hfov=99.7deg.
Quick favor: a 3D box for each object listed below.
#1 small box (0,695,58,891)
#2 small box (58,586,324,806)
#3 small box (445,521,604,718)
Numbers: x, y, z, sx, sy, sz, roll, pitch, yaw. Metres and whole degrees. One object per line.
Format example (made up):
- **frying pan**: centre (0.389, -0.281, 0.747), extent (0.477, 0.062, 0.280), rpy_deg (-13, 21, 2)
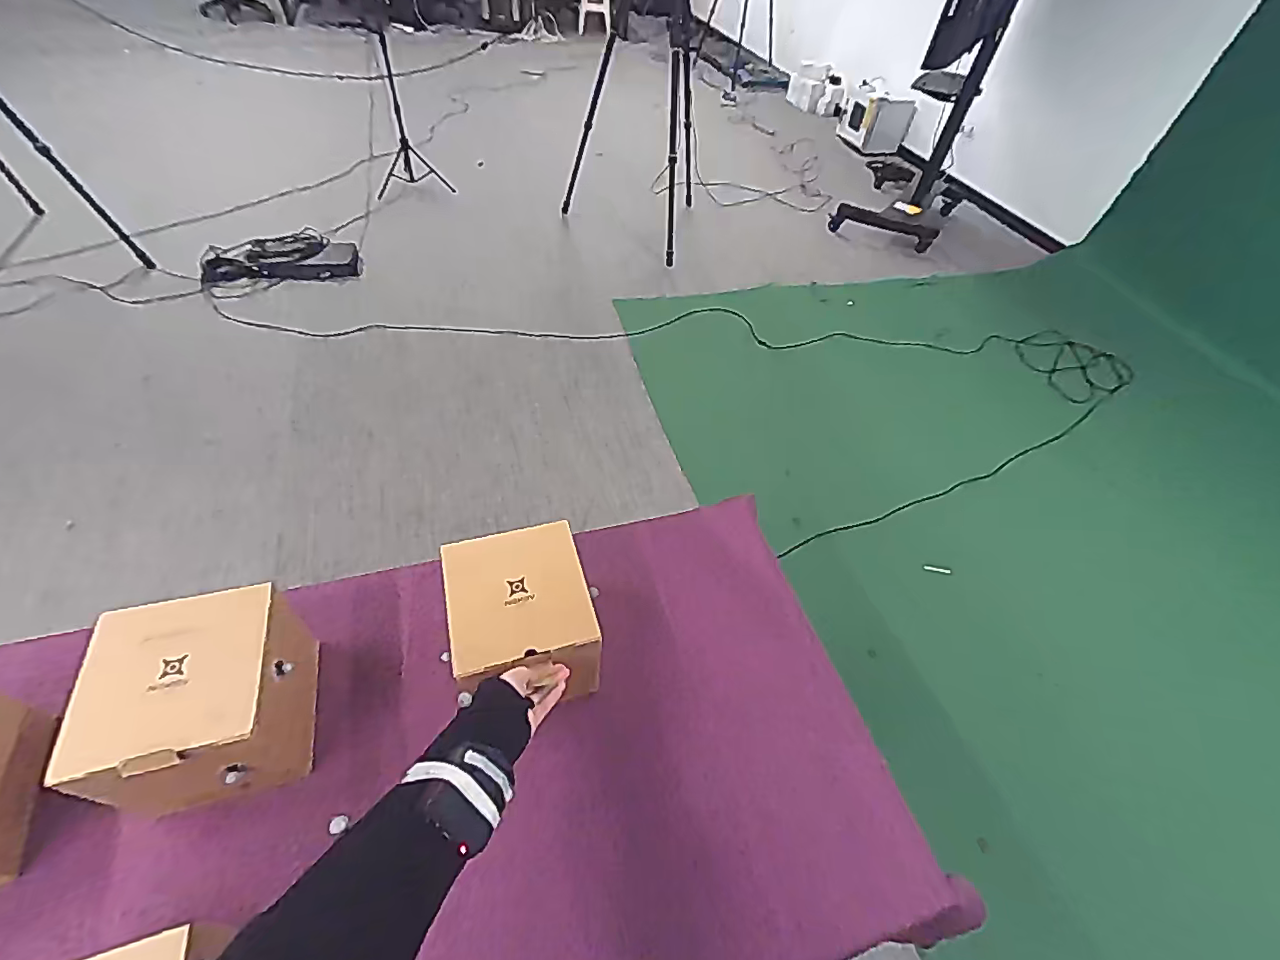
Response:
- **small box**: centre (-0.739, 0.321, 0.527), extent (0.168, 0.176, 0.179), rpy_deg (-15, 53, -18)
- **small box**: centre (-0.481, 0.251, 0.618), extent (0.168, 0.176, 0.179), rpy_deg (-9, 51, -15)
- **small box**: centre (-0.152, 0.183, 0.713), extent (0.168, 0.176, 0.179), rpy_deg (-12, 53, -16)
